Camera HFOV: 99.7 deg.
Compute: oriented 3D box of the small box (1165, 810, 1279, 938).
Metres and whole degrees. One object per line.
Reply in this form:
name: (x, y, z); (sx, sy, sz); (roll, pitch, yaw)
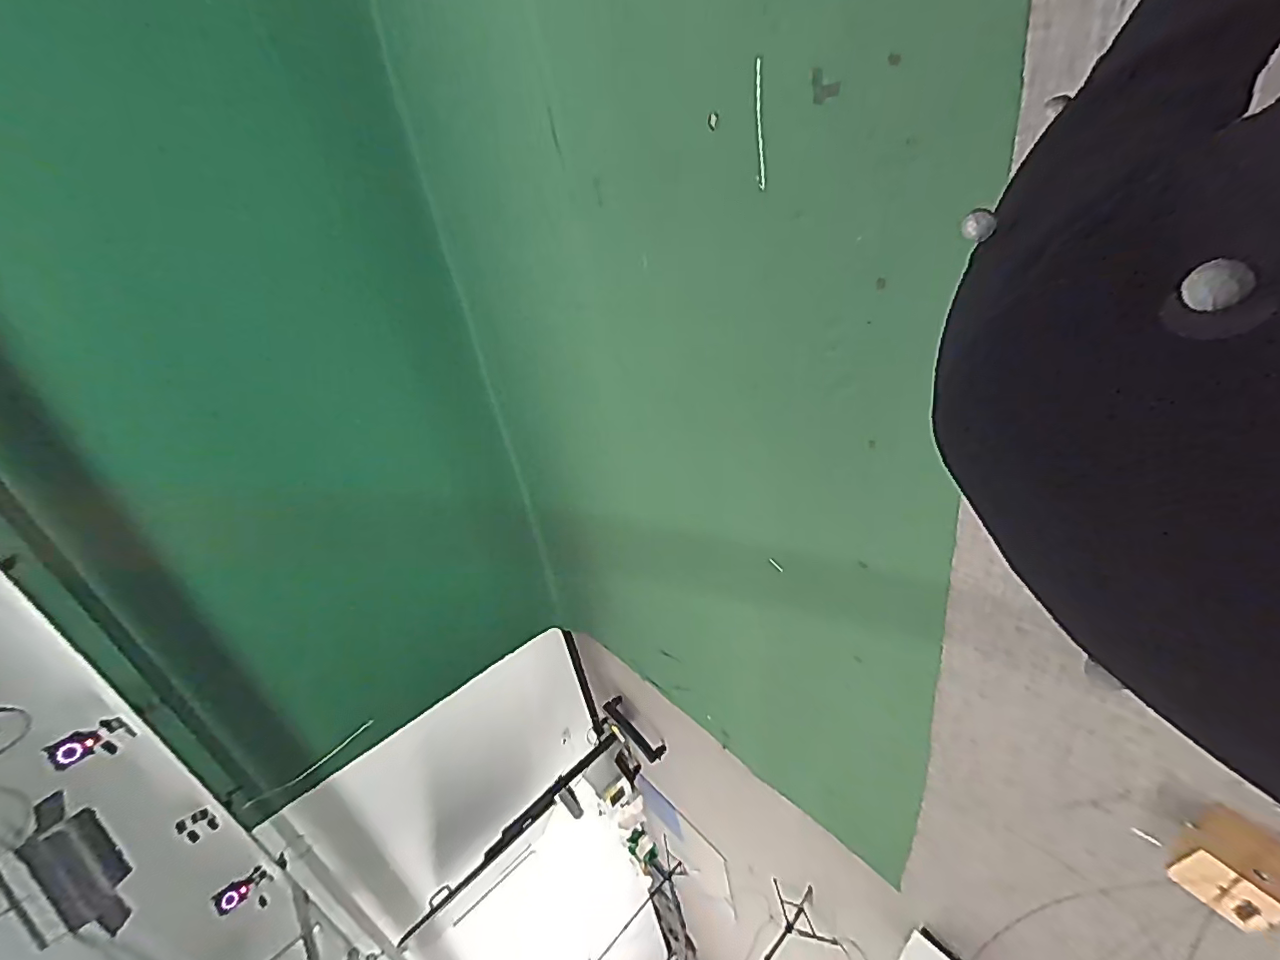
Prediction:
small box: (1.500, 0.987, 1.363); (0.179, 0.176, 0.168); (36, 141, 36)
